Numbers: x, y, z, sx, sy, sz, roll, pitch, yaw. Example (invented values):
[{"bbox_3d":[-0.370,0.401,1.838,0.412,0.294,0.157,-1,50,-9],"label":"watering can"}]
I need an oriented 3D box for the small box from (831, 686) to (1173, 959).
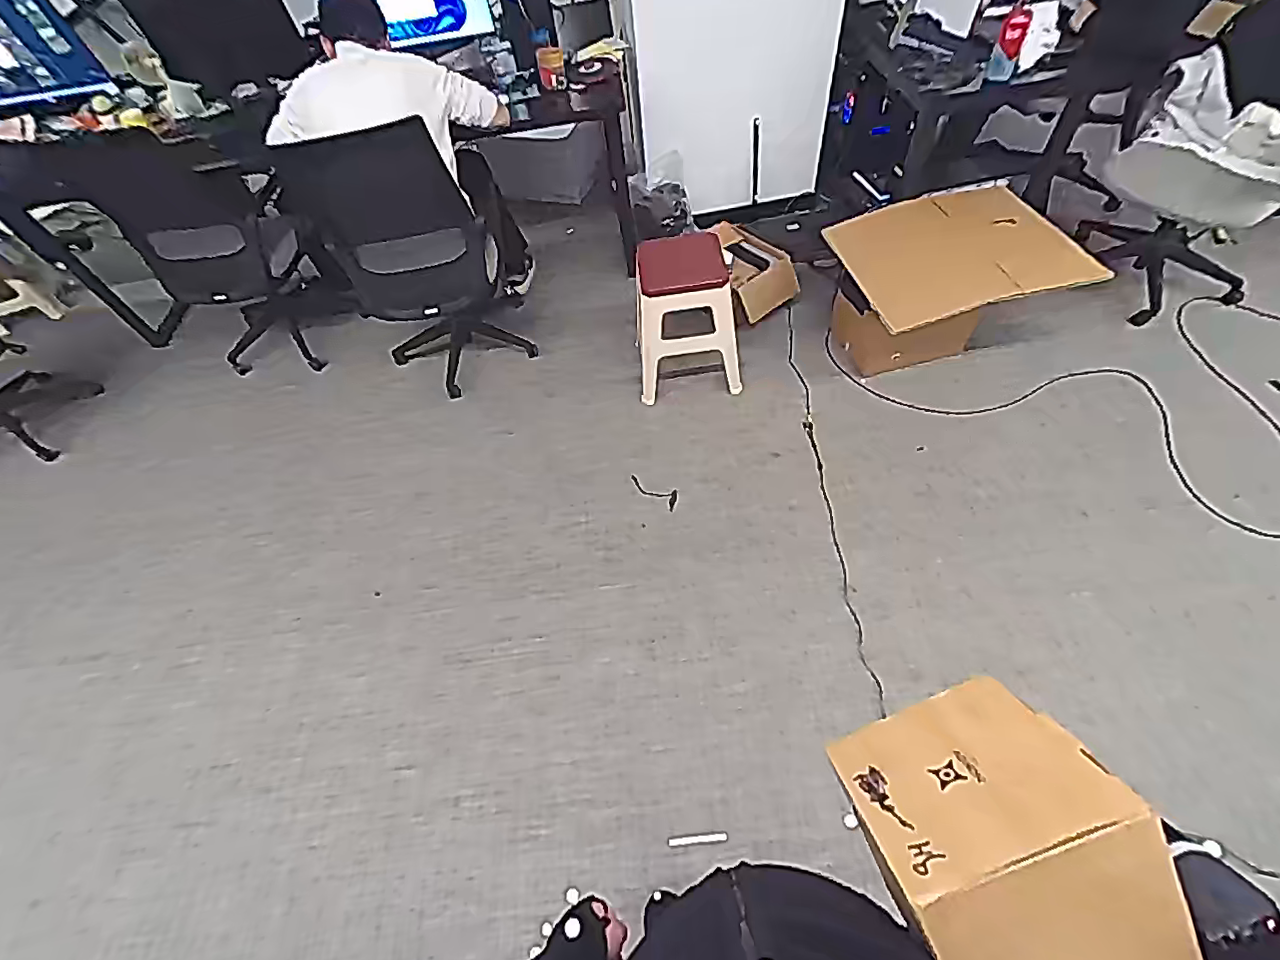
[{"bbox_3d":[0.302,0.323,0.471,0.179,0.168,0.176,-25,100,2],"label":"small box"}]
